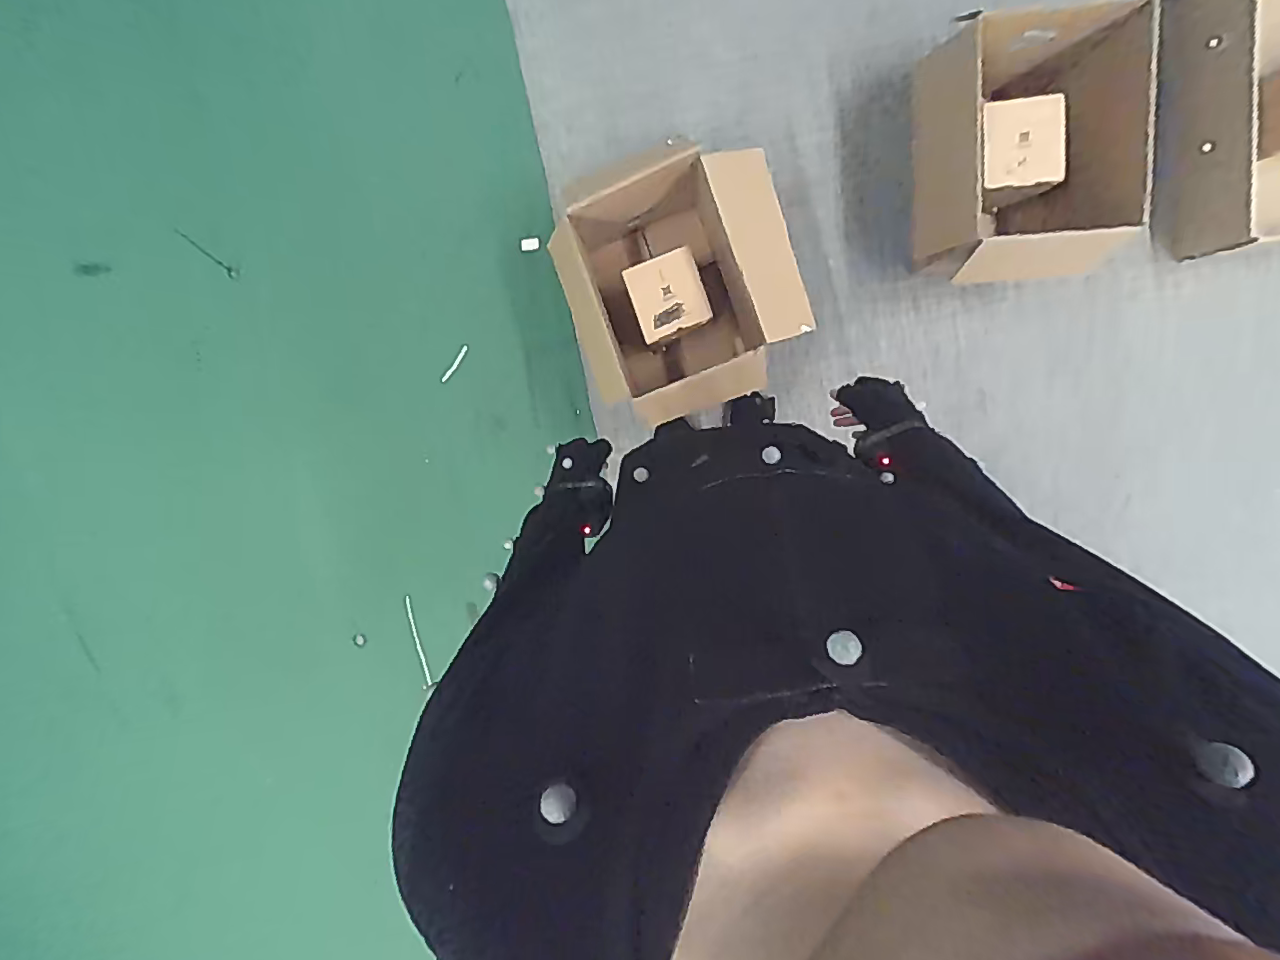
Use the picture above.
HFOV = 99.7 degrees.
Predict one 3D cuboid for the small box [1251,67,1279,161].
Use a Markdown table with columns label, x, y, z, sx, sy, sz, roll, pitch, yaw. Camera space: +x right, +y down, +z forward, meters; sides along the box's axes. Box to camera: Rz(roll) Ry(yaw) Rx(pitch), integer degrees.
| label | x | y | z | sx | sy | sz | roll | pitch | yaw |
| --- | --- | --- | --- | --- | --- | --- | --- | --- | --- |
| small box | 1.461 | -0.816 | 1.142 | 0.168 | 0.176 | 0.179 | -11 | 97 | 5 |
